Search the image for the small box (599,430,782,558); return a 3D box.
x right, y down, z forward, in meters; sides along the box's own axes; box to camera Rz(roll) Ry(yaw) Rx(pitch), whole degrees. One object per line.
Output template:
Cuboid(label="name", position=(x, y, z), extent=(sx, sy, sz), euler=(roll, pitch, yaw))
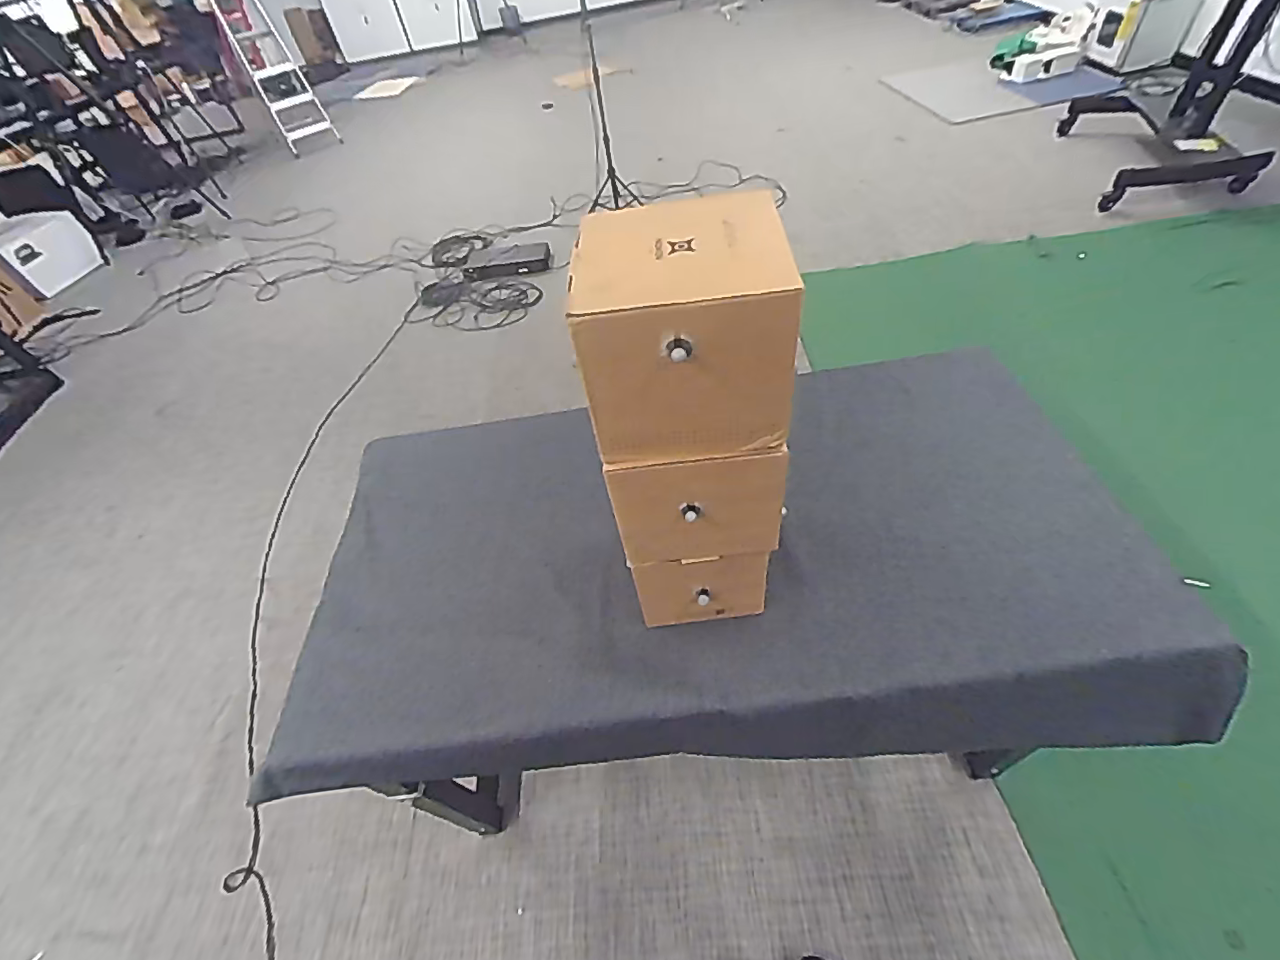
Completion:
Cuboid(label="small box", position=(0.057, -0.028, 0.619), extent=(0.179, 0.176, 0.168), euler=(-8, 49, 6))

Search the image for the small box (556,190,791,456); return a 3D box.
Cuboid(label="small box", position=(0.035, -0.137, 0.502), extent=(0.179, 0.176, 0.168), euler=(-6, 50, 6))

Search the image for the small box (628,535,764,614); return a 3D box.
Cuboid(label="small box", position=(0.074, 0.072, 0.749), extent=(0.168, 0.176, 0.179), euler=(-9, 50, 3))
